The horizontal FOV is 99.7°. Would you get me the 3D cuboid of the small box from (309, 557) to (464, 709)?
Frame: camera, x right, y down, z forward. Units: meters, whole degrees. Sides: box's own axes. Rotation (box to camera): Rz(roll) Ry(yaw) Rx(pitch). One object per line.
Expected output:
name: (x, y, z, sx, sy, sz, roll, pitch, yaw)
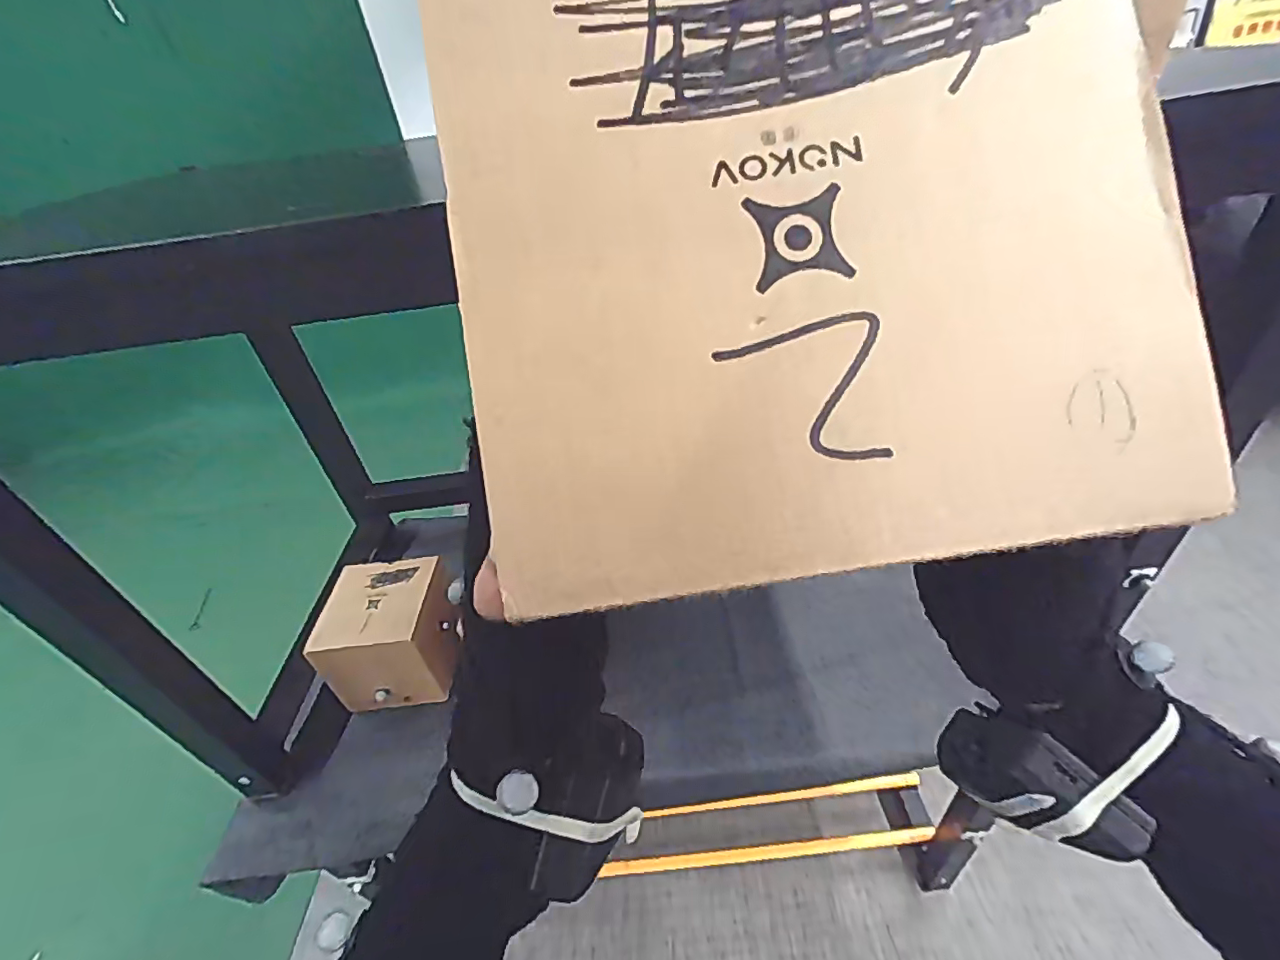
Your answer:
small box: (-0.407, 0.256, 0.911, 0.168, 0.176, 0.179, -7, 37, 1)
